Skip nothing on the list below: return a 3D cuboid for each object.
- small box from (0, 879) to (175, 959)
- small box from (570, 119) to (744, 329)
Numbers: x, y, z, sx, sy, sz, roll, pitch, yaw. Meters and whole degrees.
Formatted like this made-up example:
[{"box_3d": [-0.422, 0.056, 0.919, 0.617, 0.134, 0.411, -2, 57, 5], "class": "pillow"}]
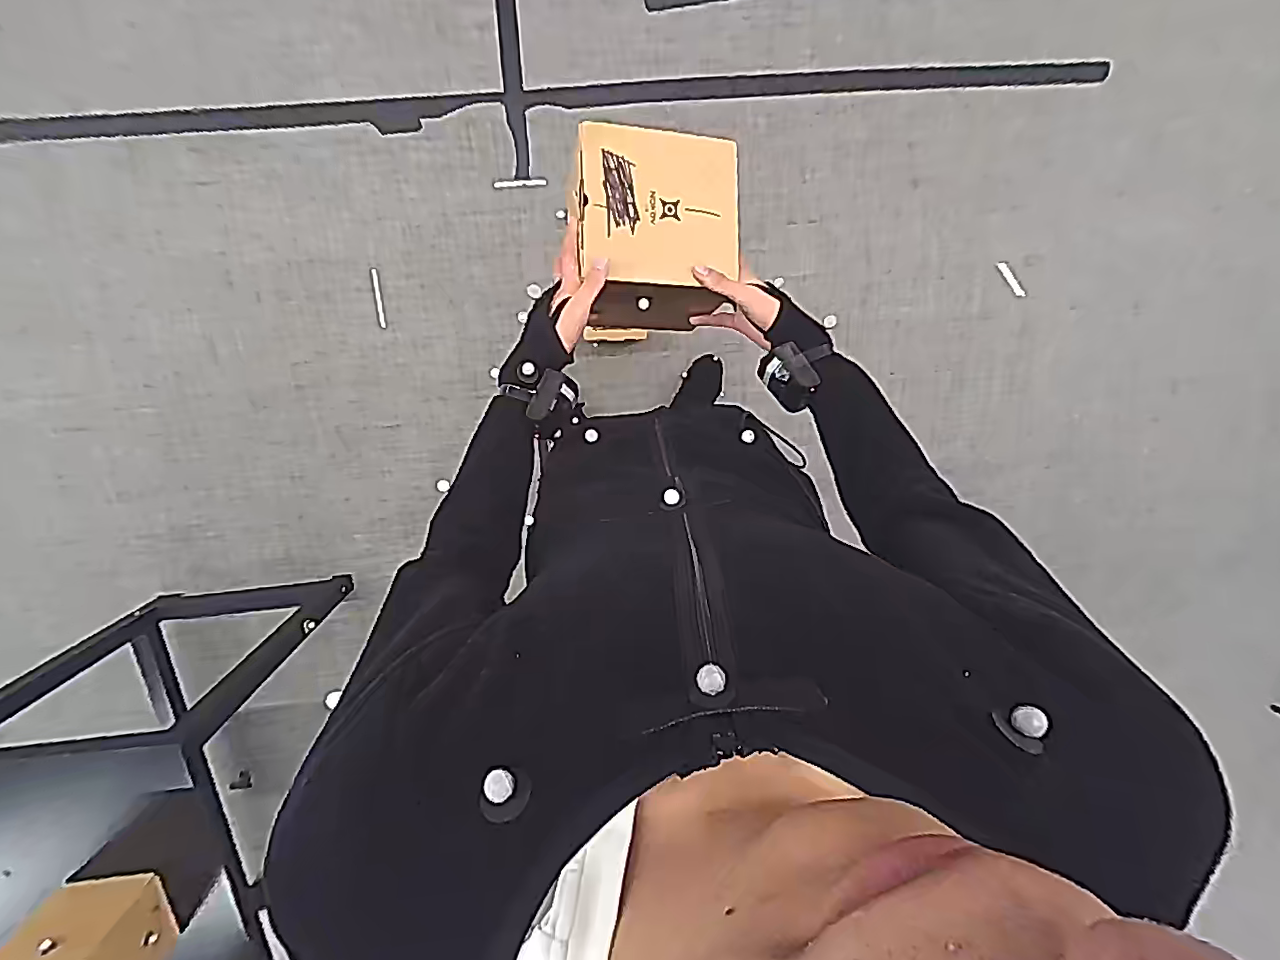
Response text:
[{"box_3d": [-0.996, 0.856, 0.961, 0.179, 0.176, 0.168, -5, 105, -3], "class": "small box"}, {"box_3d": [0.009, -0.285, 0.643, 0.179, 0.176, 0.168, -1, 90, -13], "class": "small box"}]
